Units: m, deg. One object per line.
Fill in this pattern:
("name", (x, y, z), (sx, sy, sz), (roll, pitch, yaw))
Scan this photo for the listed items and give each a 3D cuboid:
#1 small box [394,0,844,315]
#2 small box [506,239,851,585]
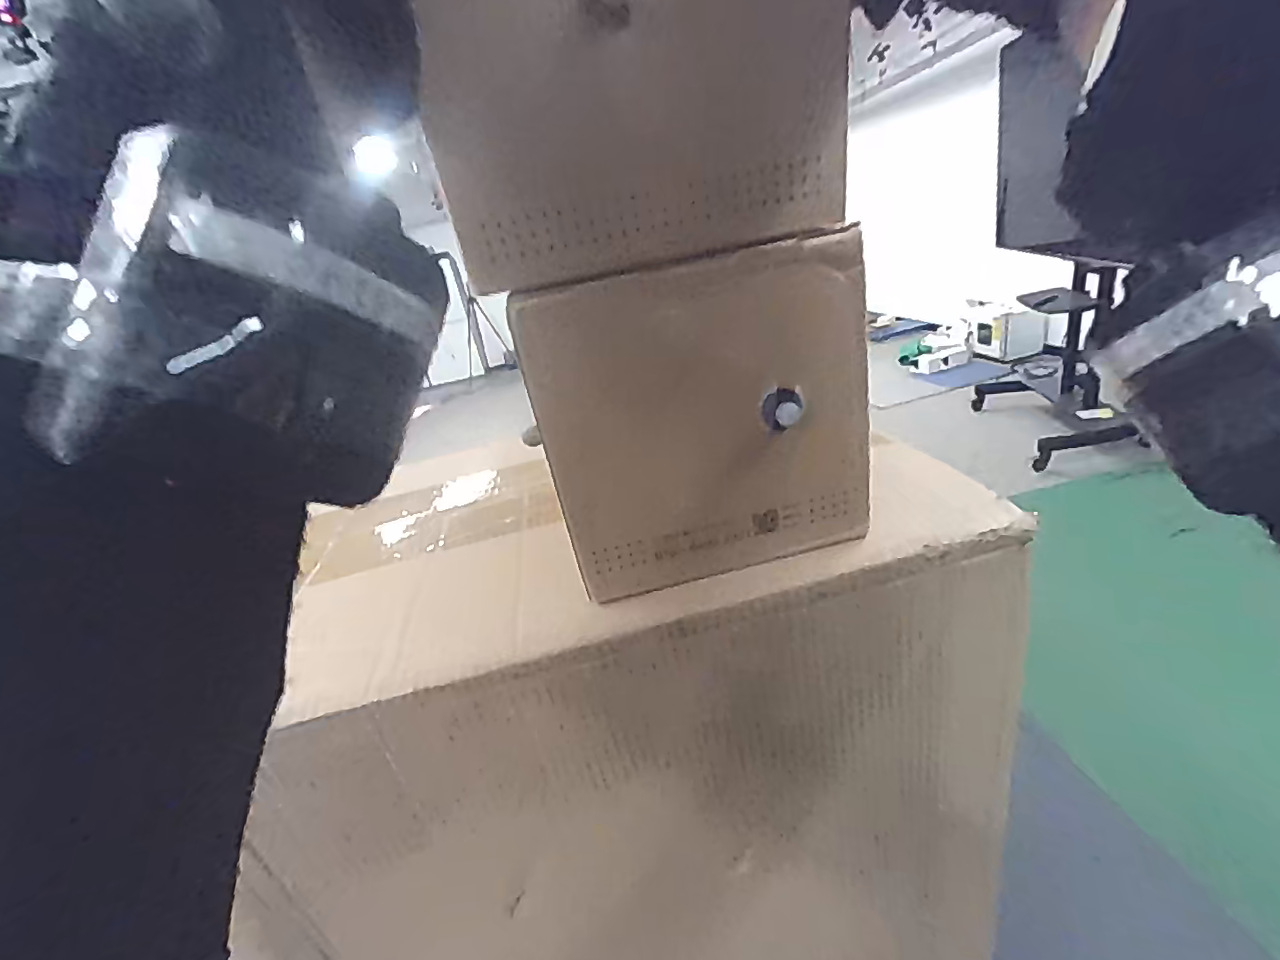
("small box", (-0.014, -0.195, 0.276), (0.179, 0.176, 0.168), (-13, 29, -8))
("small box", (0.023, -0.049, 0.351), (0.168, 0.176, 0.179), (-13, 25, -3))
